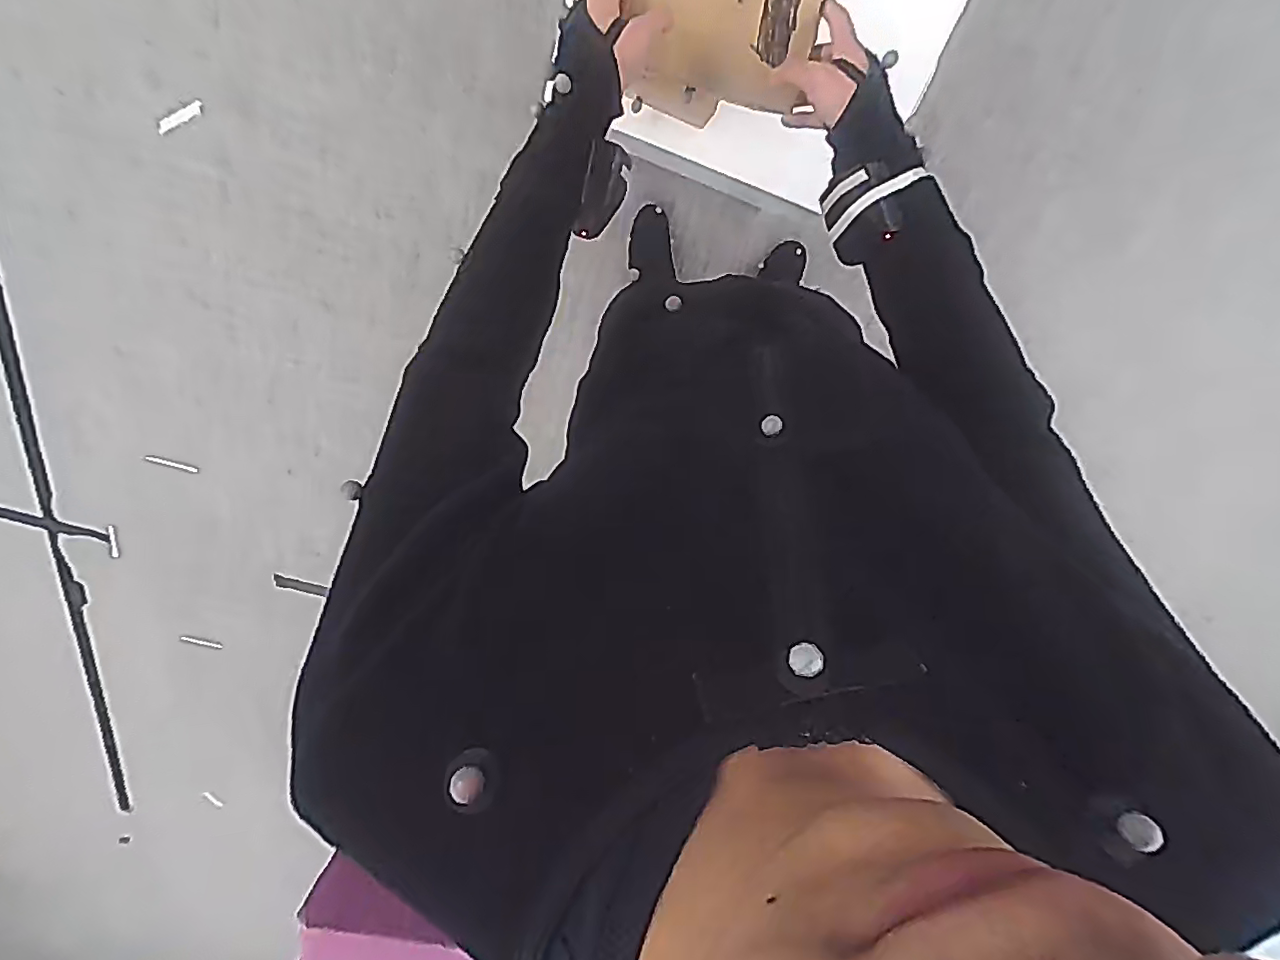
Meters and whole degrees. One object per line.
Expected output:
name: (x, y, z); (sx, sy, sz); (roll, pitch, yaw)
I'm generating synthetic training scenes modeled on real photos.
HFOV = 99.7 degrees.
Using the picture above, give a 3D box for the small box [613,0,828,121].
small box: (0.075, -0.474, 0.528); (0.179, 0.176, 0.168); (10, 124, -10)

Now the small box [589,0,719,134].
small box: (0.043, -0.571, 0.683); (0.168, 0.176, 0.179); (18, 116, -9)
